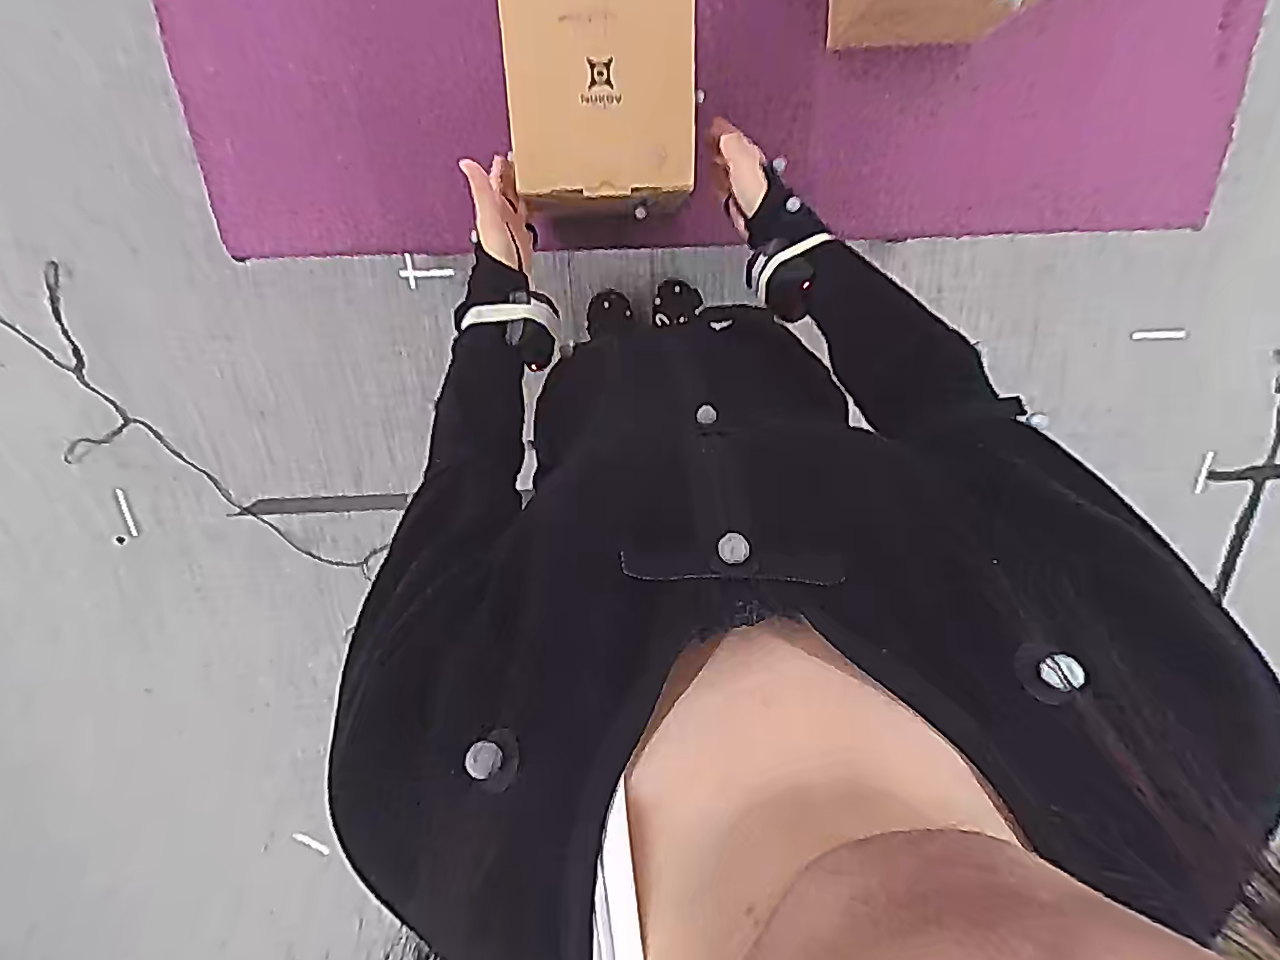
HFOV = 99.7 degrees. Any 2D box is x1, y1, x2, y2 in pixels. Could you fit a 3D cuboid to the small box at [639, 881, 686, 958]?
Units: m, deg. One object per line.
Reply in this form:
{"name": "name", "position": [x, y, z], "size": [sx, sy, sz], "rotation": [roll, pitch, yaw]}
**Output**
{"name": "small box", "position": [0.085, 1.682, 2.079], "size": [0.168, 0.176, 0.179], "rotation": [-5, 110, -1]}

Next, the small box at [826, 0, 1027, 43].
{"name": "small box", "position": [0.294, -0.539, 0.501], "size": [0.179, 0.176, 0.168], "rotation": [-4, 109, -1]}

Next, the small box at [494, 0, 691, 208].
{"name": "small box", "position": [-0.042, -0.377, 0.541], "size": [0.168, 0.176, 0.179], "rotation": [-4, 110, -3]}
